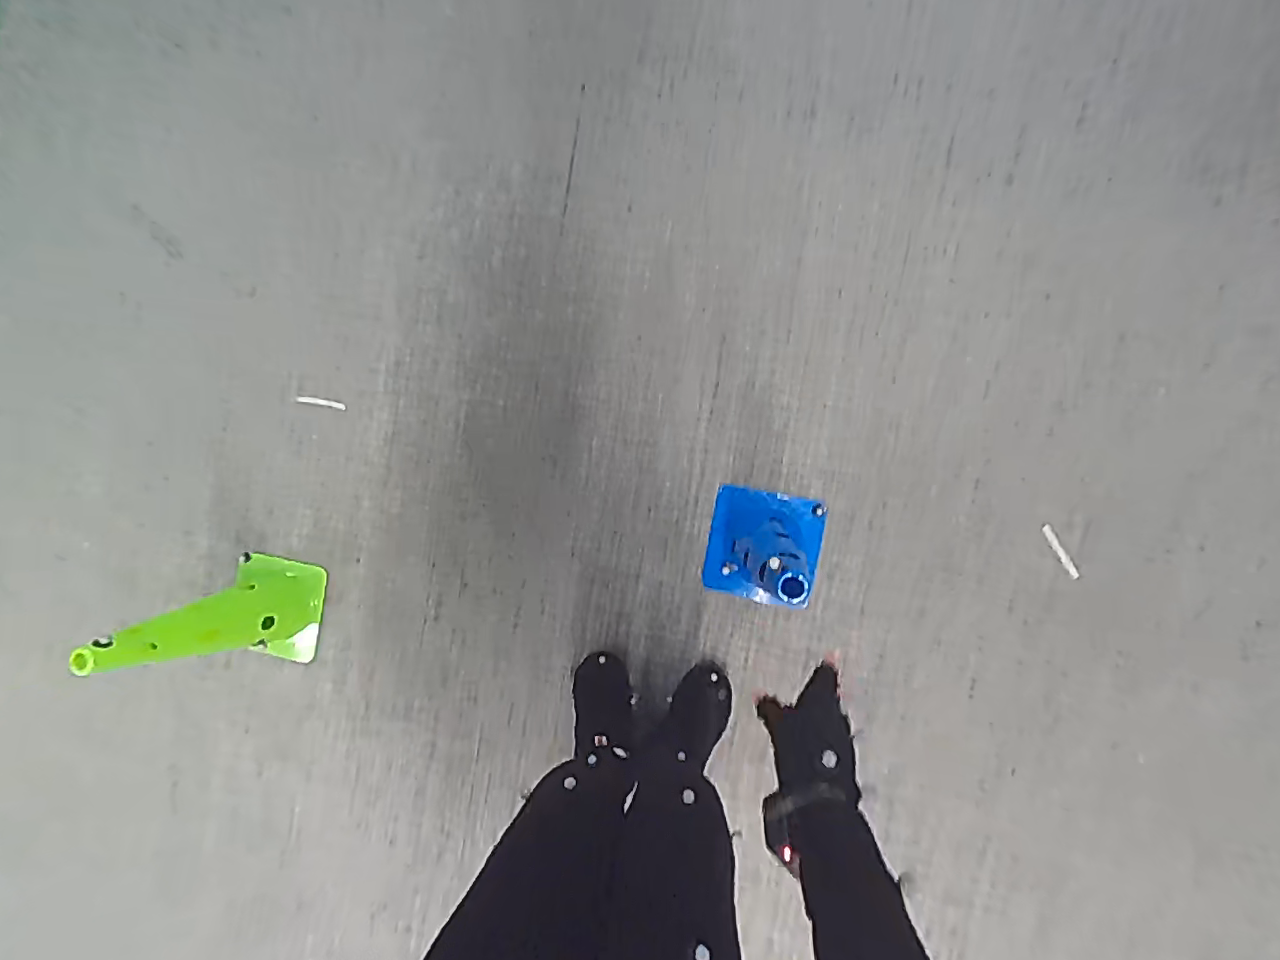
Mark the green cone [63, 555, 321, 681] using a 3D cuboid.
[{"bbox_3d":[-0.774,0.265,0.933,0.202,0.368,0.200,9,91,7],"label":"green cone"}]
